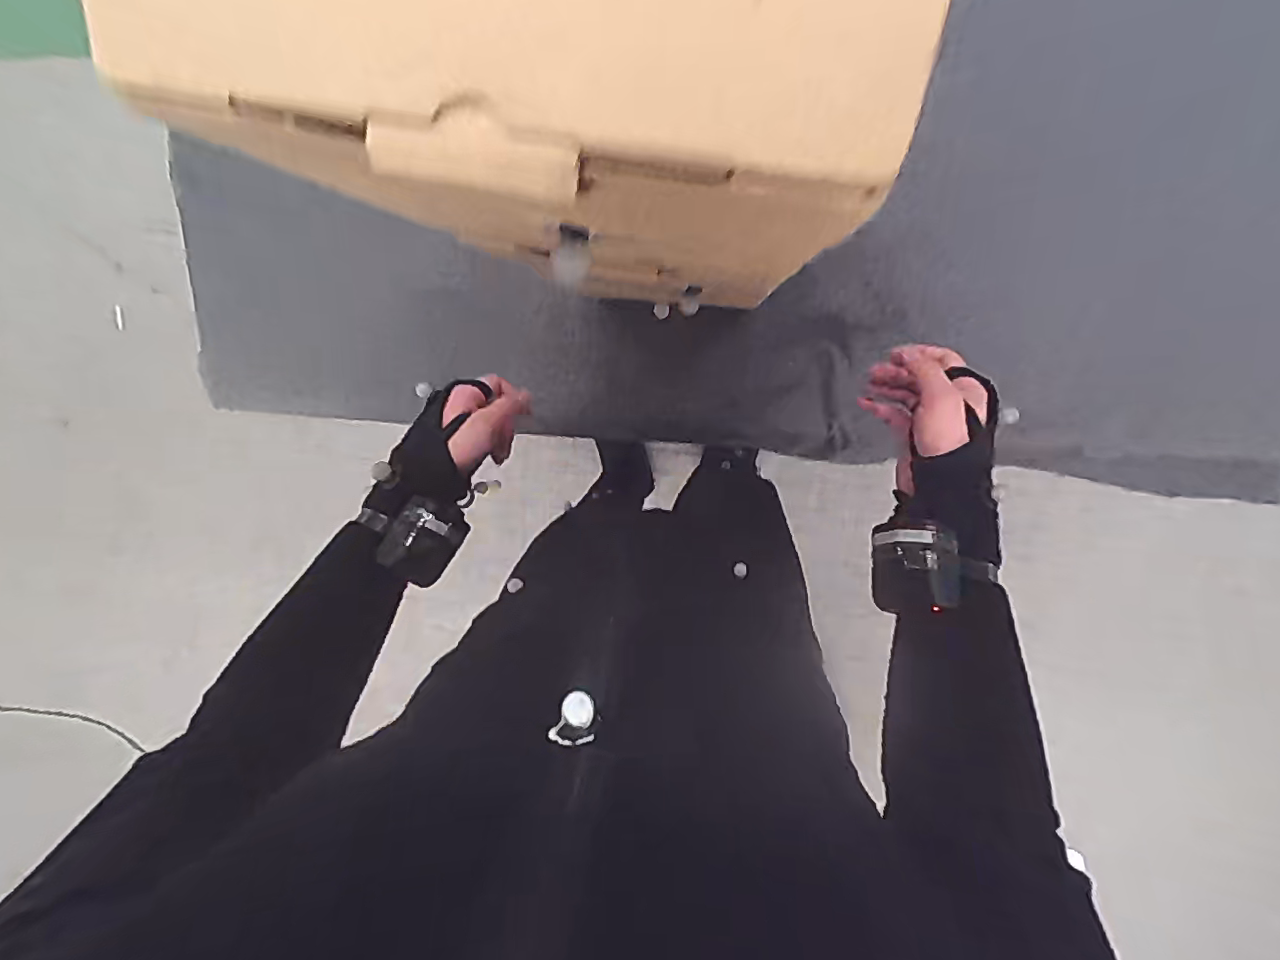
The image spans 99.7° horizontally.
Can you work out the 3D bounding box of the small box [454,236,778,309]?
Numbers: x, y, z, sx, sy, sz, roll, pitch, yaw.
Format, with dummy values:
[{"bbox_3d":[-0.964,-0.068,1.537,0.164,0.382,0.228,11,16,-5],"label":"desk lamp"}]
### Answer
[{"bbox_3d":[0.008,-0.202,0.318,0.168,0.176,0.179,9,104,5],"label":"small box"}]
